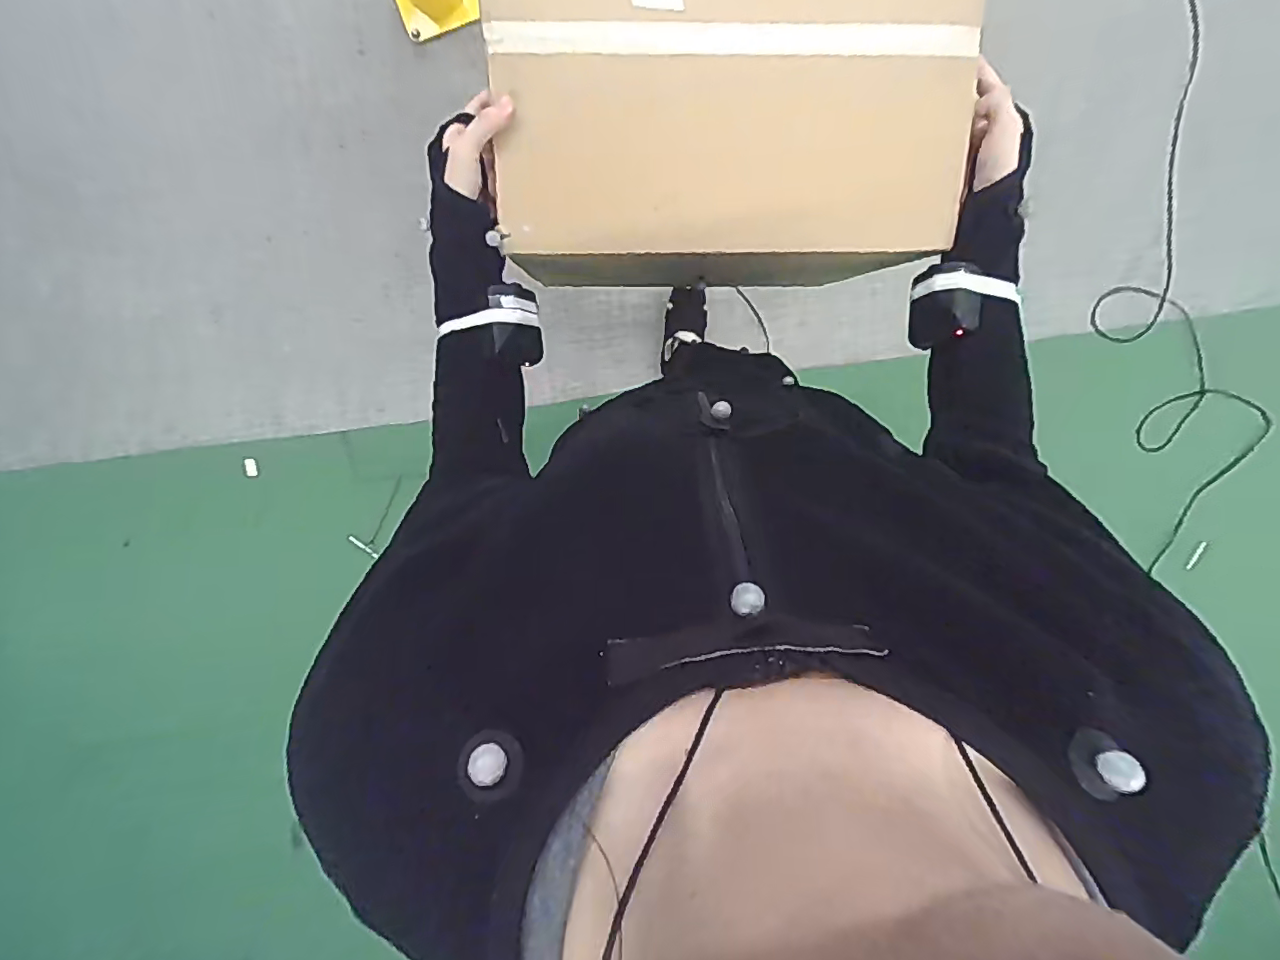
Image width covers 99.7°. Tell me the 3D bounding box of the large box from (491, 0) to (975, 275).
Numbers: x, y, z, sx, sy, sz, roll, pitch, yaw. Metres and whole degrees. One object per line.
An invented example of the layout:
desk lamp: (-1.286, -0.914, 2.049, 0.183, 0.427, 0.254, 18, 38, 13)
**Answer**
large box: (0.075, -0.405, 0.591, 0.408, 0.320, 0.320, -2, 104, -2)
